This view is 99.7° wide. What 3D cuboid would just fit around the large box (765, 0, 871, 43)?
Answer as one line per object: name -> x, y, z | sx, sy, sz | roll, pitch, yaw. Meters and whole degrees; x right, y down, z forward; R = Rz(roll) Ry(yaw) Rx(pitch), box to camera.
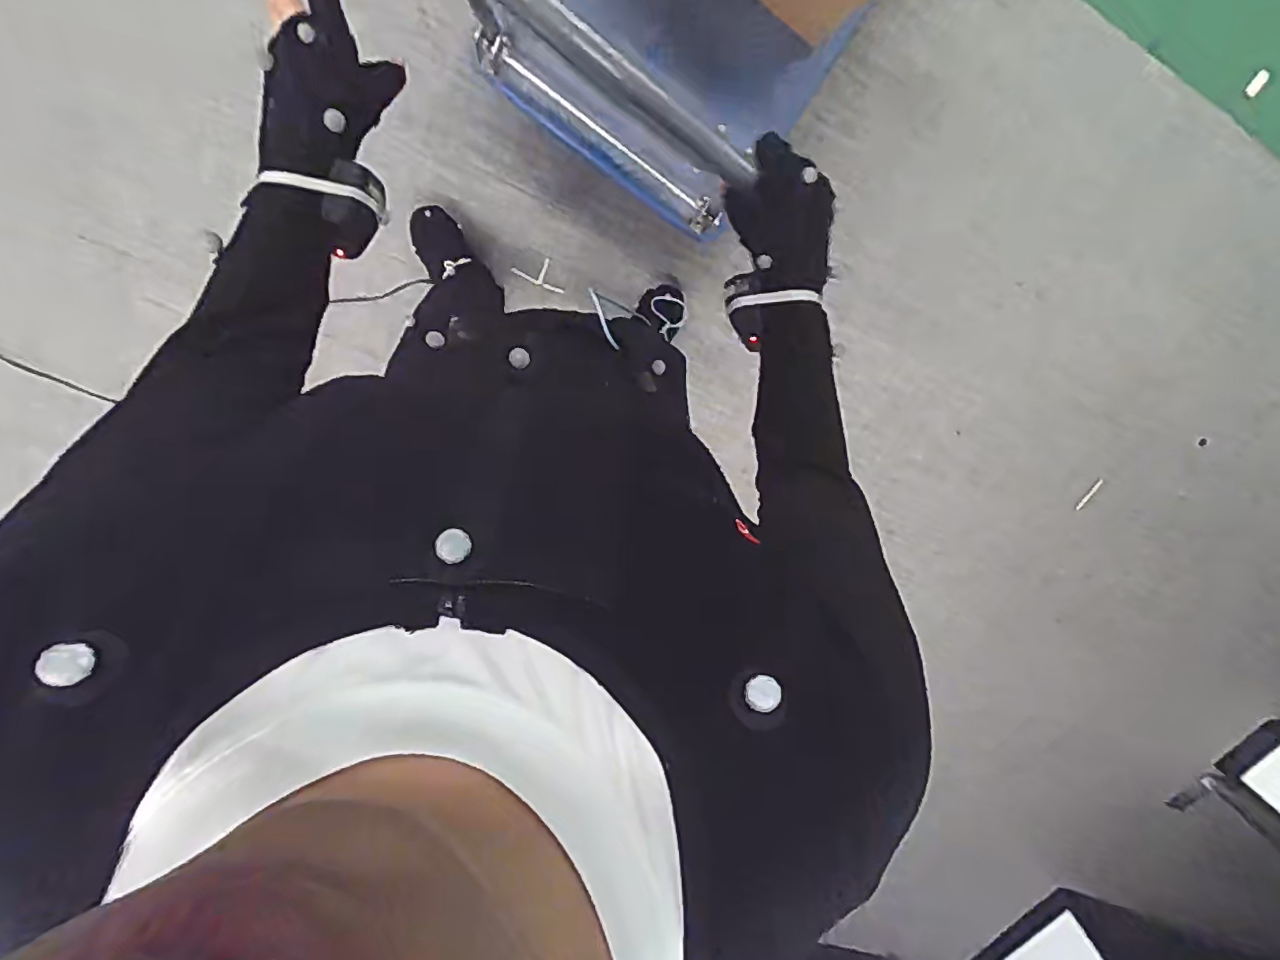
large box -> 0.248, -0.953, 0.776 | 0.408, 0.320, 0.320 | 29, 110, -14
